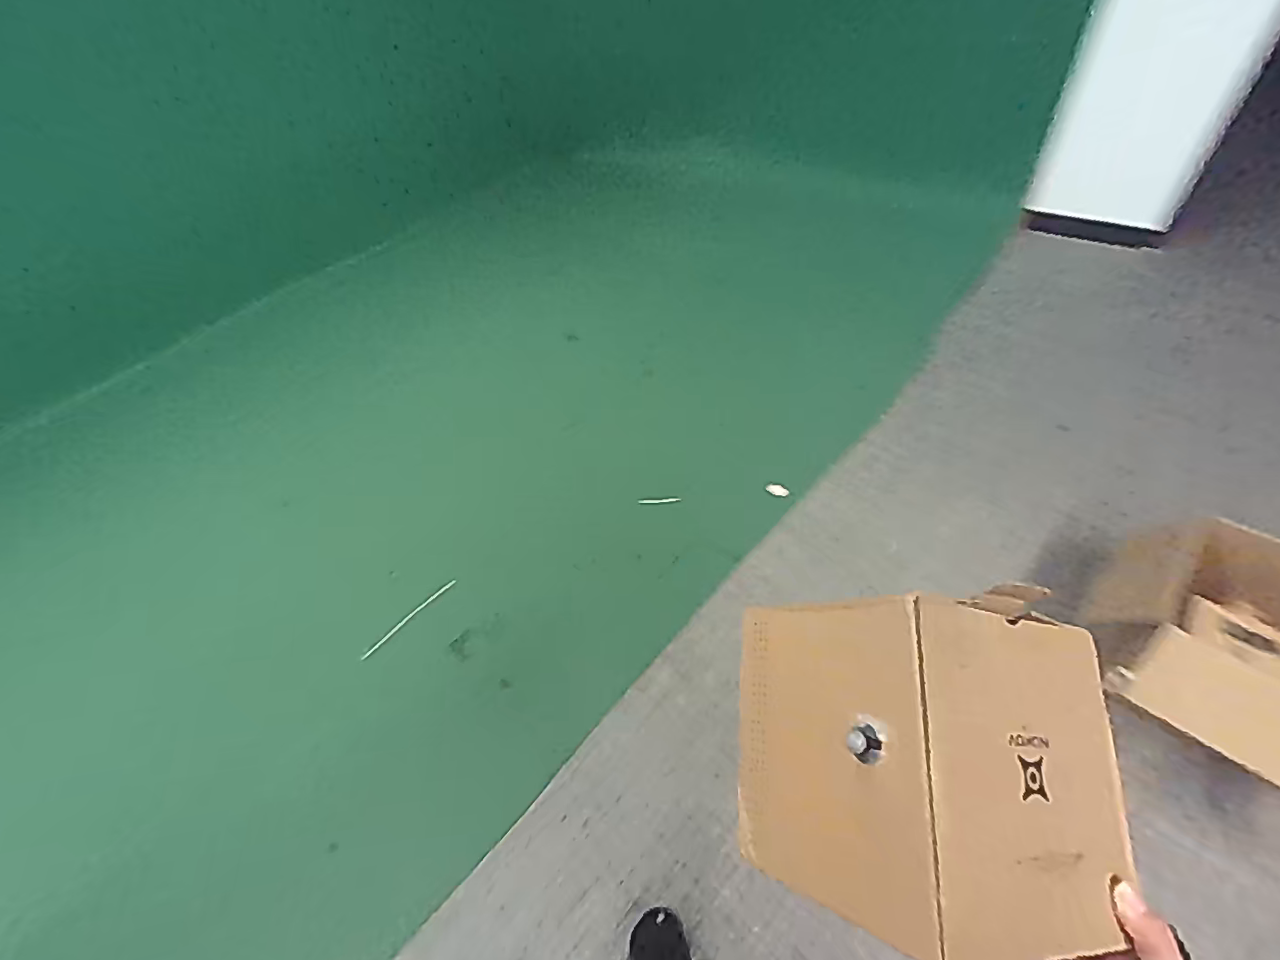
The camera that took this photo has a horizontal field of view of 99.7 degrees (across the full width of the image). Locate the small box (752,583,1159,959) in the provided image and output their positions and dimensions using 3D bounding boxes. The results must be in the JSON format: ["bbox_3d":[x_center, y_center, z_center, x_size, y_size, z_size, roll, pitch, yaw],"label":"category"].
[{"bbox_3d":[0.193,0.178,0.371,0.168,0.176,0.179,16,70,-20],"label":"small box"}]
